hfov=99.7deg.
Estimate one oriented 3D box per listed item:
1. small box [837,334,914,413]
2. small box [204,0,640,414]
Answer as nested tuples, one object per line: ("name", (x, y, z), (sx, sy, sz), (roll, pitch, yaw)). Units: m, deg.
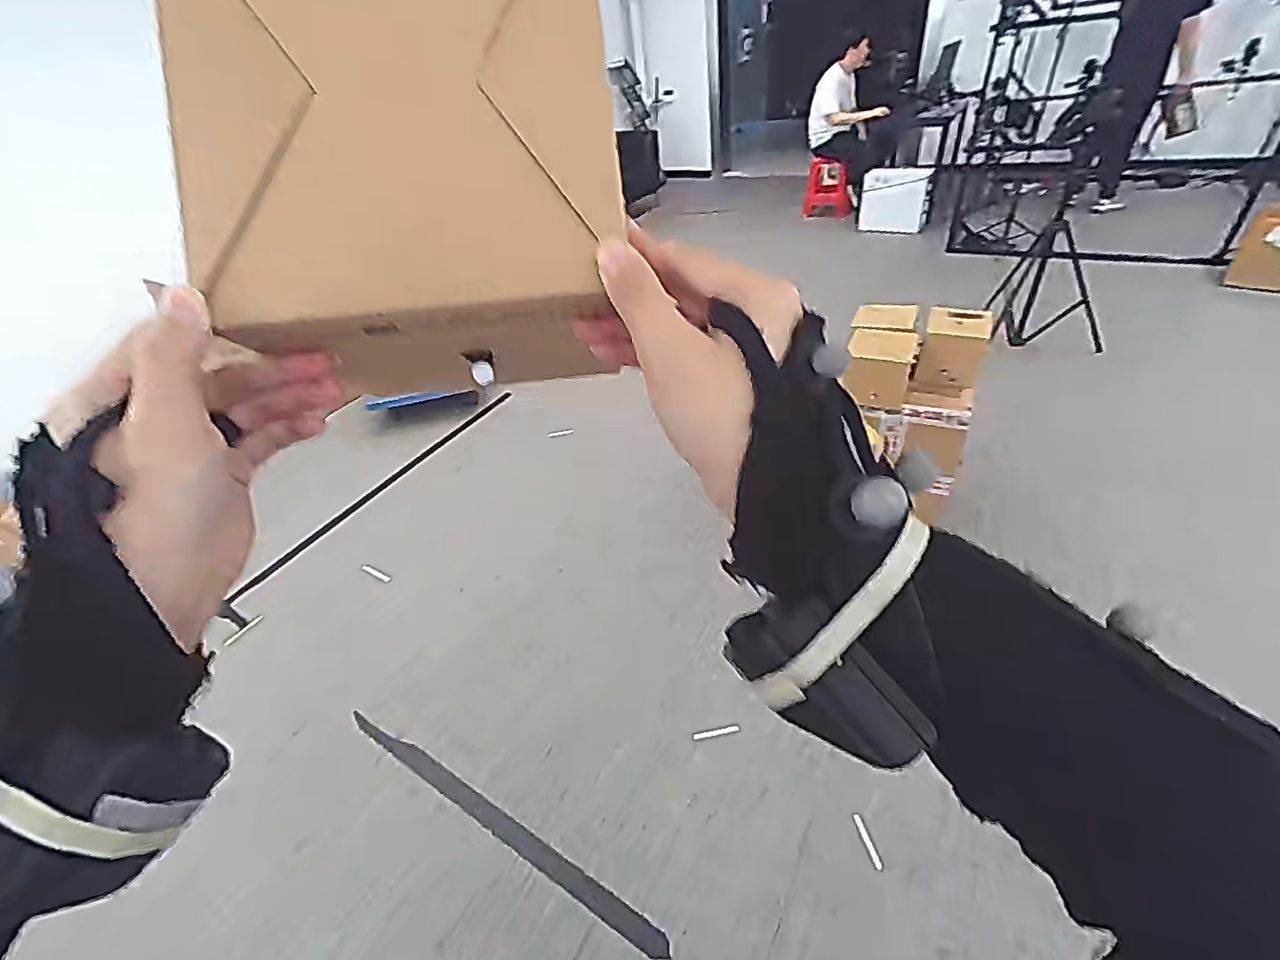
("small box", (0.705, -0.326, 1.623), (0.179, 0.176, 0.168), (13, 47, 25))
("small box", (-0.092, -0.142, 0.296), (0.168, 0.179, 0.176), (-7, 0, -4))
